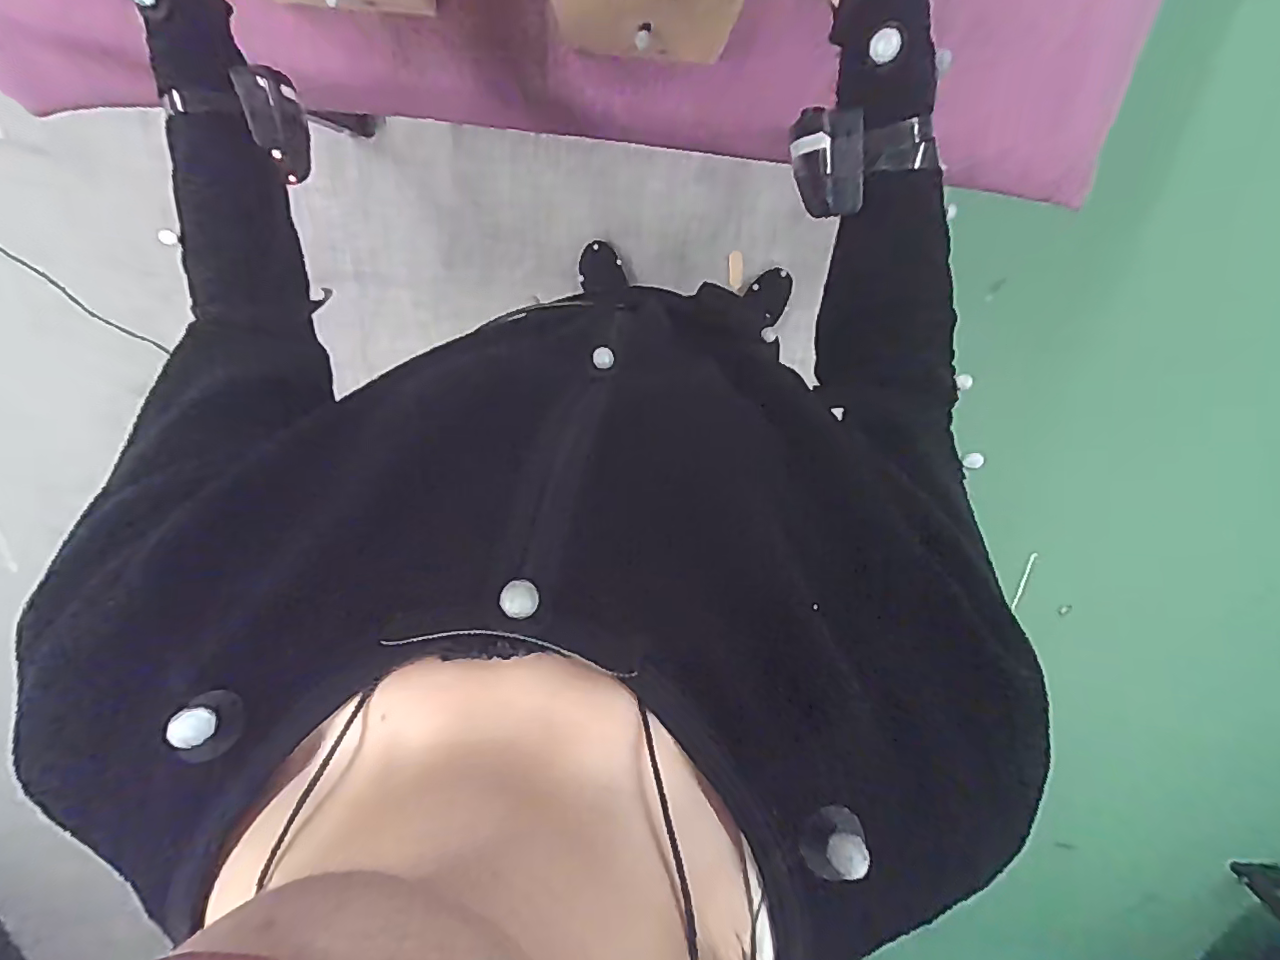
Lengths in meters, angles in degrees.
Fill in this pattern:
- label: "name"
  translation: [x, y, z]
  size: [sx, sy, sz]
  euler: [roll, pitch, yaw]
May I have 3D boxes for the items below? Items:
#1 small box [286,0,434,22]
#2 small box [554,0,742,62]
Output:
- label: "small box"
  translation: [-0.285, -0.533, 0.454]
  size: [0.168, 0.176, 0.179]
  euler: [4, 113, -2]
- label: "small box"
  translation: [0.012, -0.499, 0.472]
  size: [0.168, 0.176, 0.179]
  euler: [4, 112, -3]
